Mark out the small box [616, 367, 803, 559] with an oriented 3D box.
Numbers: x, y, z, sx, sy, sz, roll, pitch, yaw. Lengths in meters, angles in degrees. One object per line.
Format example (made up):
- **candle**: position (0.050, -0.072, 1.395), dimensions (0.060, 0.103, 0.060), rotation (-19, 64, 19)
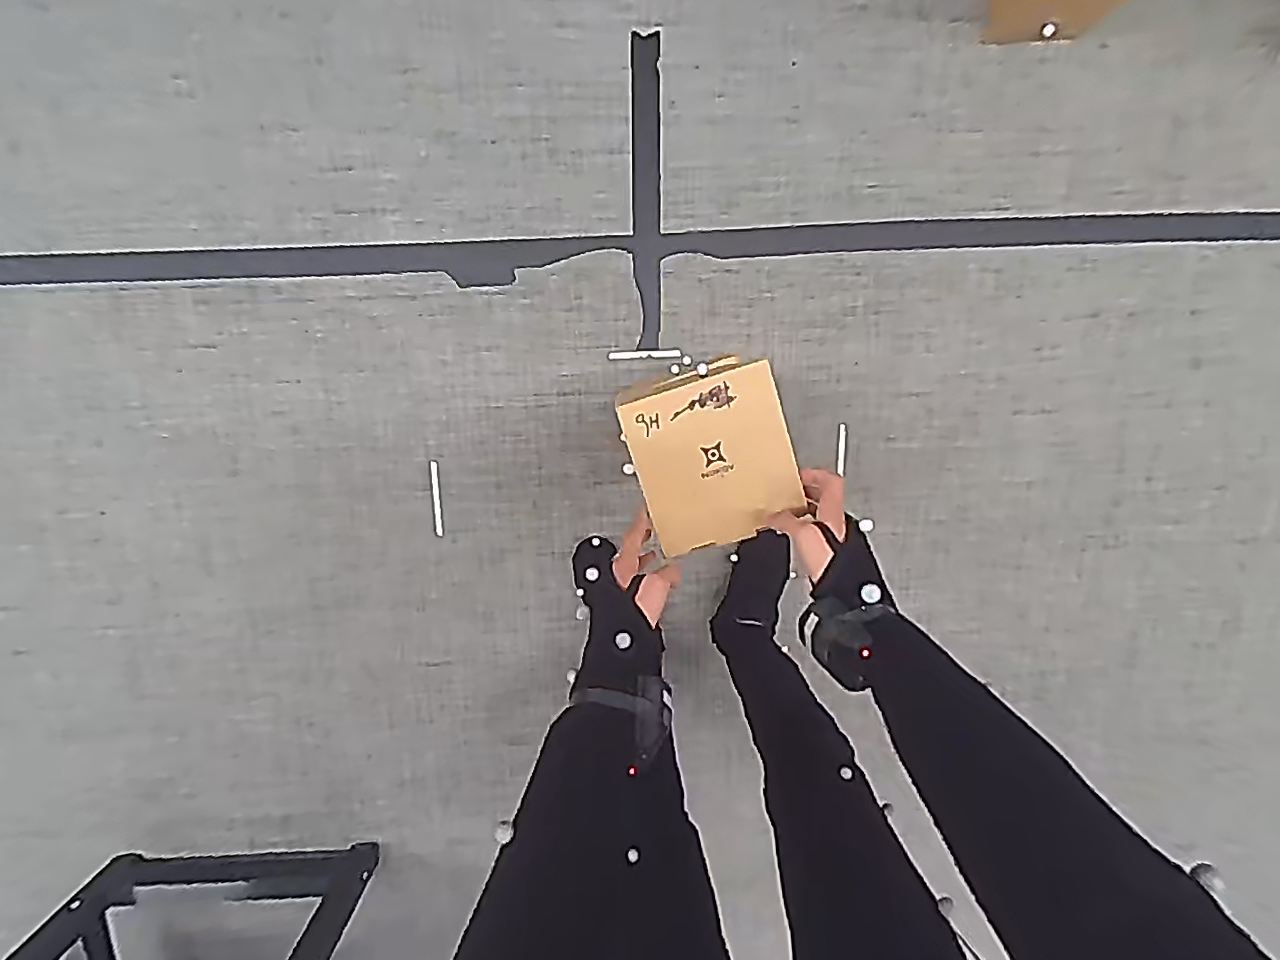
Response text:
- **small box**: position (0.075, -0.032, 0.653), dimensions (0.168, 0.176, 0.179), rotation (-17, 101, 1)
